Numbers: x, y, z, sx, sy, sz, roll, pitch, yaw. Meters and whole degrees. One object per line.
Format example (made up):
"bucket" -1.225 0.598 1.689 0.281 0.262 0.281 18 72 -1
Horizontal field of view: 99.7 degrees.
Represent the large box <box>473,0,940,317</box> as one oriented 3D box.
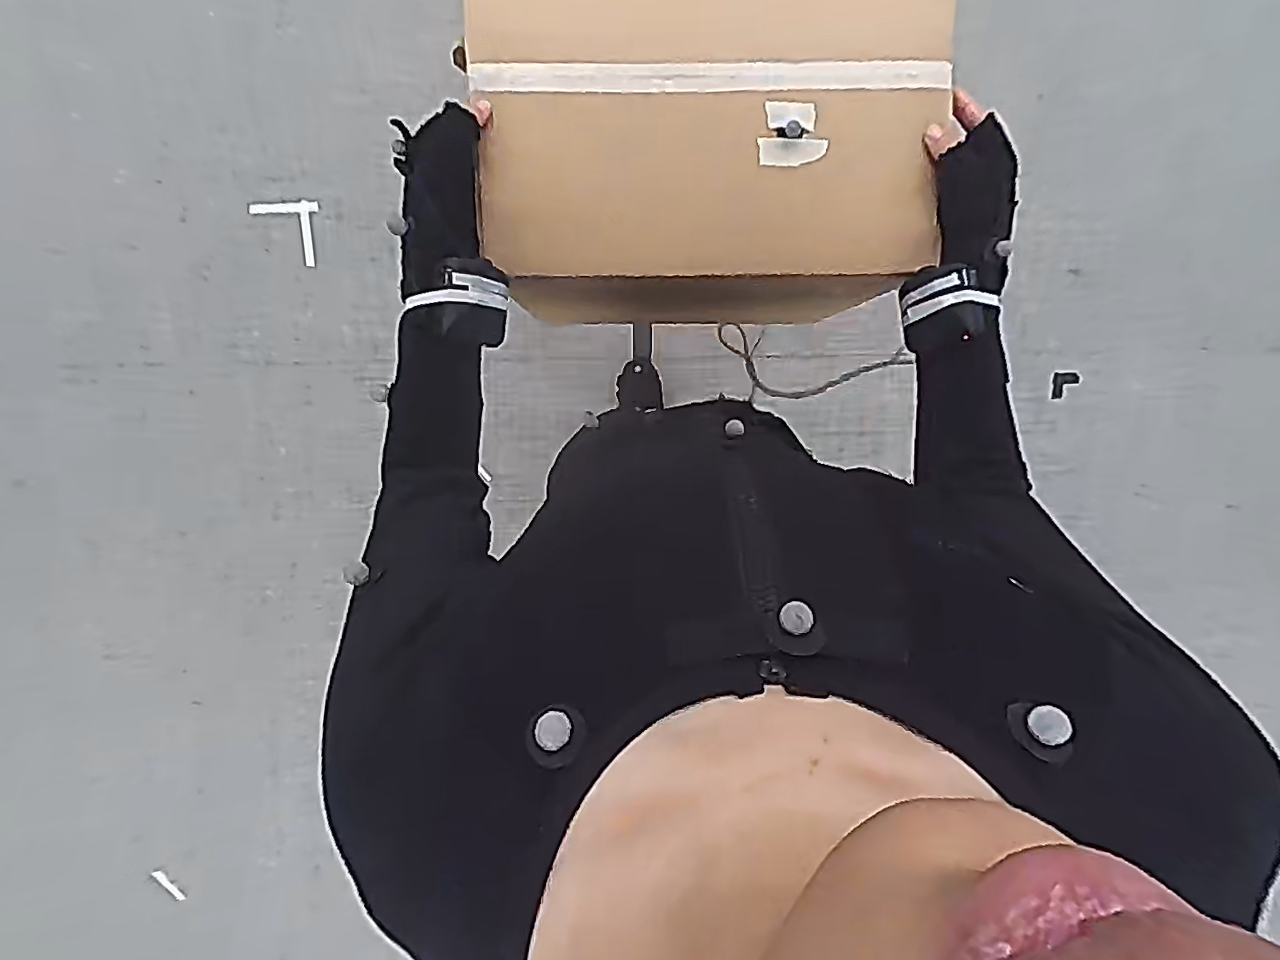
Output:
"large box" 0.053 -0.370 0.615 0.408 0.320 0.320 -1 100 -2
